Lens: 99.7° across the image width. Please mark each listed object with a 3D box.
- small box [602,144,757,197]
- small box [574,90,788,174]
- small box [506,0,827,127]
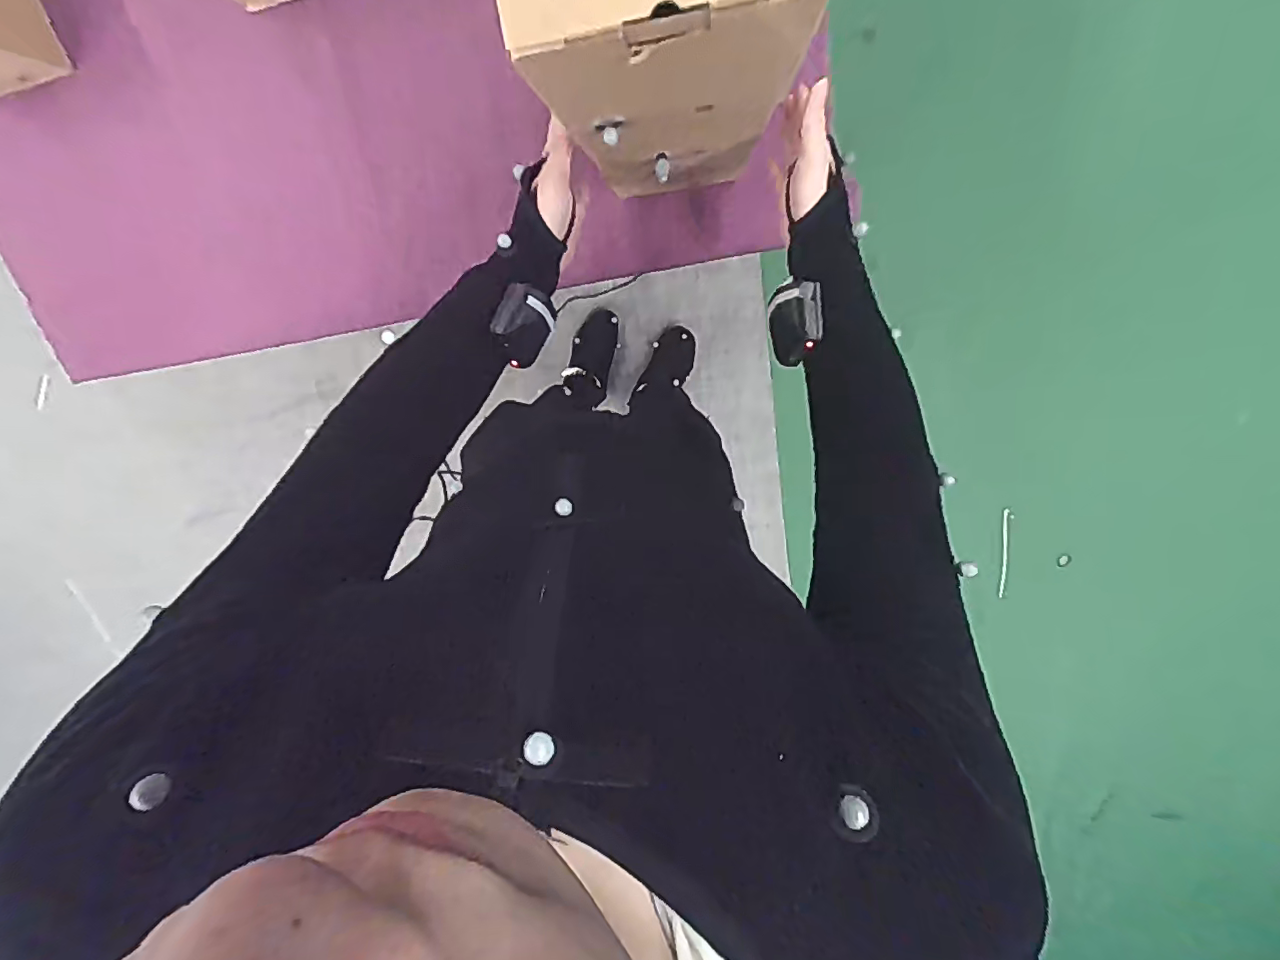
[{"bbox_3d":[0.037,-0.440,0.616,0.168,0.176,0.179,-5,110,7],"label":"small box"},{"bbox_3d":[0.026,-0.385,0.461,0.168,0.176,0.179,-6,110,7],"label":"small box"},{"bbox_3d":[0.014,-0.327,0.308,0.168,0.176,0.179,-6,108,7],"label":"small box"}]
